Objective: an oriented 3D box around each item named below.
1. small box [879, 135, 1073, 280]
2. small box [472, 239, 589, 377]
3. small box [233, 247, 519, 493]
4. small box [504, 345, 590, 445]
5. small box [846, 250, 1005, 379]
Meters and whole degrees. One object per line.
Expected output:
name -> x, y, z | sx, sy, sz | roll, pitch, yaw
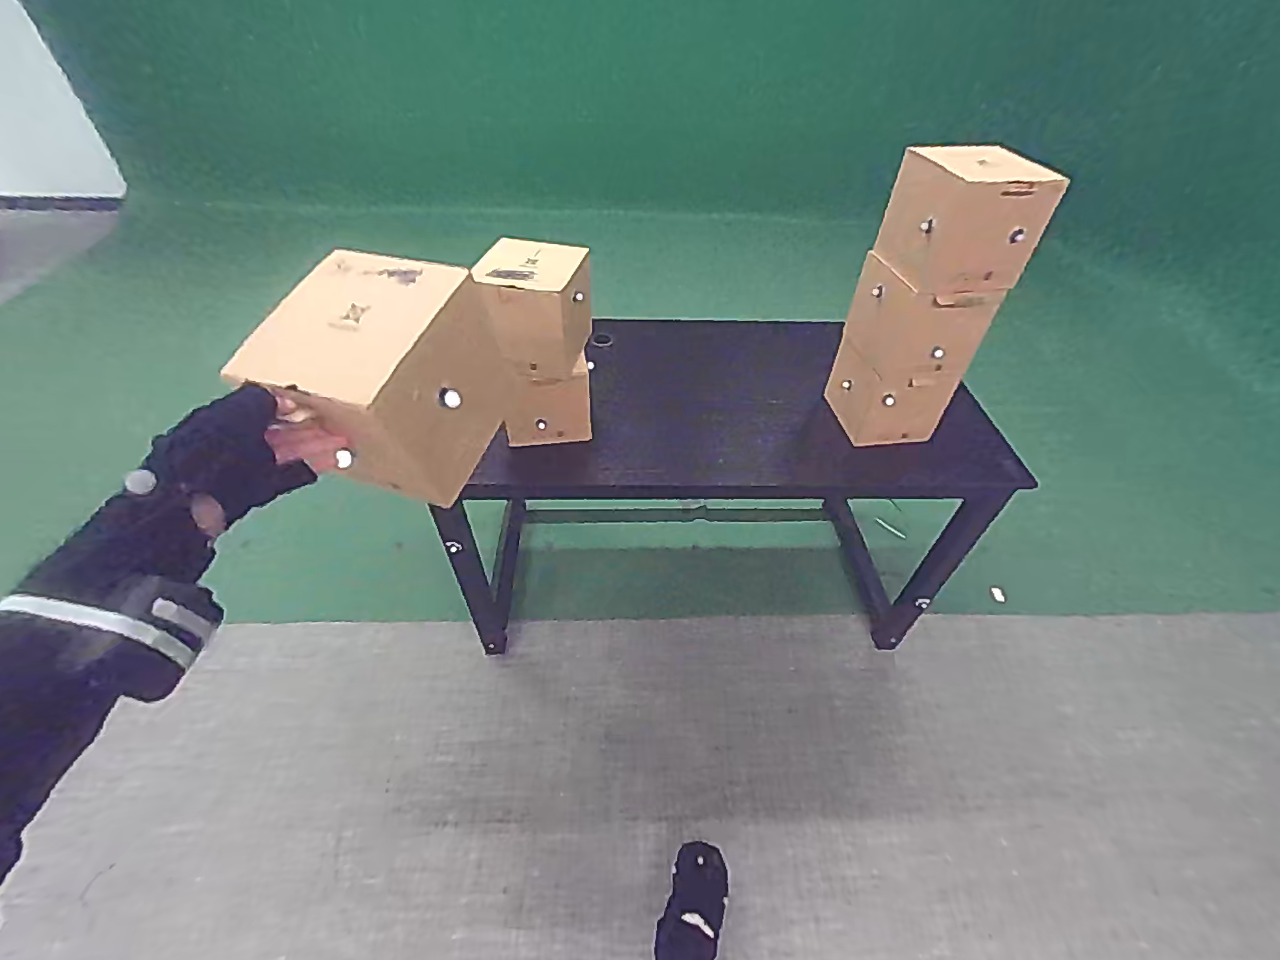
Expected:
small box -> 0.517, -0.431, 0.864 | 0.168, 0.176, 0.179 | -6, 46, -7
small box -> -0.190, -0.306, 0.967 | 0.168, 0.176, 0.179 | 10, 46, 6
small box -> -0.249, -0.108, 0.562 | 0.168, 0.176, 0.179 | 14, 63, 15
small box -> -0.192, -0.192, 1.086 | 0.168, 0.176, 0.179 | -6, 48, -9
small box -> 0.506, -0.306, 0.992 | 0.168, 0.176, 0.179 | -6, 47, -7
